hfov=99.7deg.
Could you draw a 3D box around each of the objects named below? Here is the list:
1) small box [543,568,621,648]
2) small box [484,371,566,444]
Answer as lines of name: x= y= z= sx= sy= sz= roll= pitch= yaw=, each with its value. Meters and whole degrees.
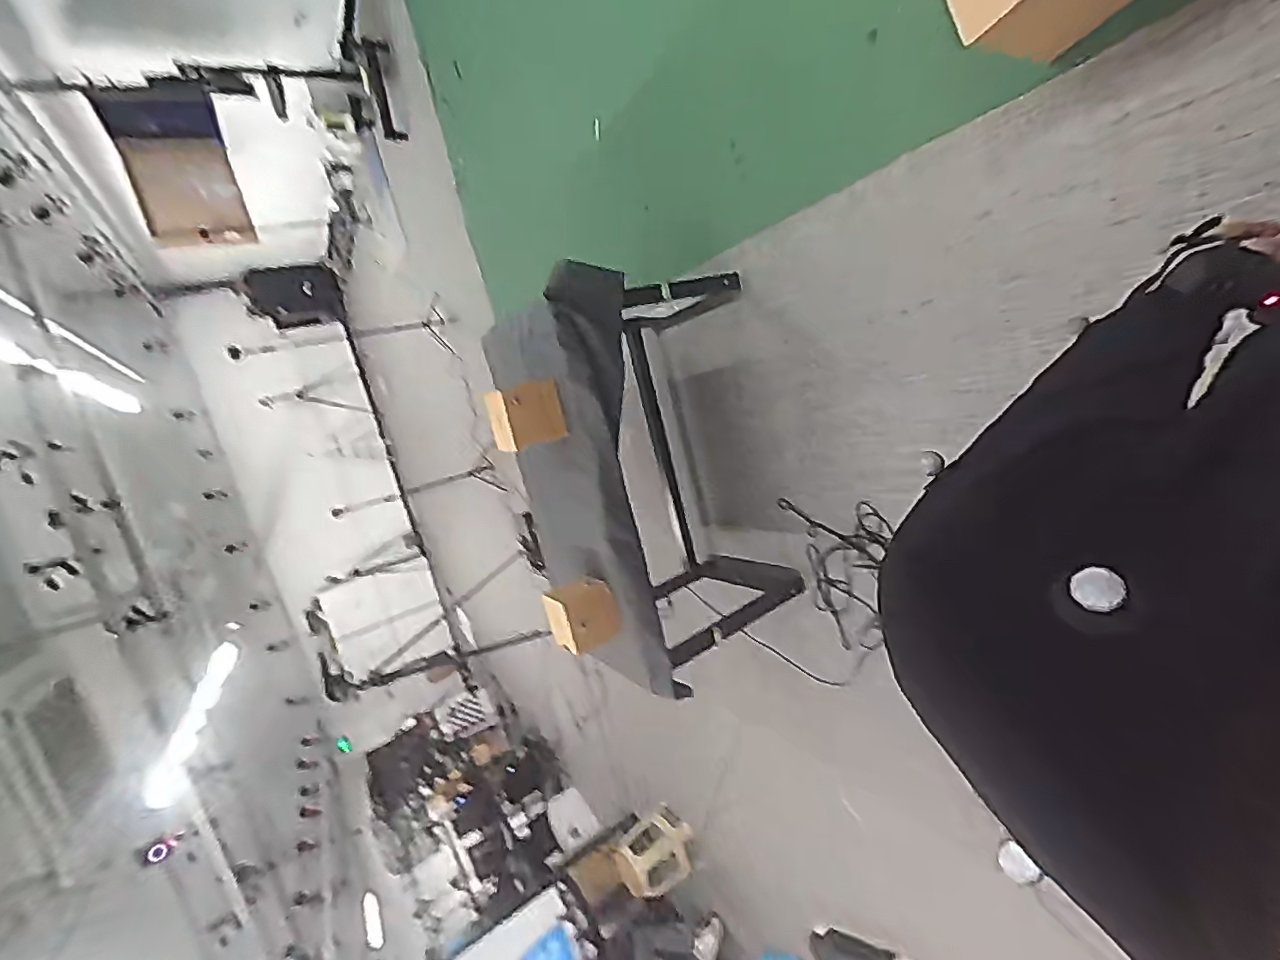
small box: x=-0.181 y=0.399 z=1.714 sx=0.168 sy=0.176 sz=0.179 roll=-1 pitch=105 yaw=58
small box: x=-0.337 y=-0.214 z=1.597 sx=0.168 sy=0.176 sz=0.179 roll=6 pitch=113 yaw=58
